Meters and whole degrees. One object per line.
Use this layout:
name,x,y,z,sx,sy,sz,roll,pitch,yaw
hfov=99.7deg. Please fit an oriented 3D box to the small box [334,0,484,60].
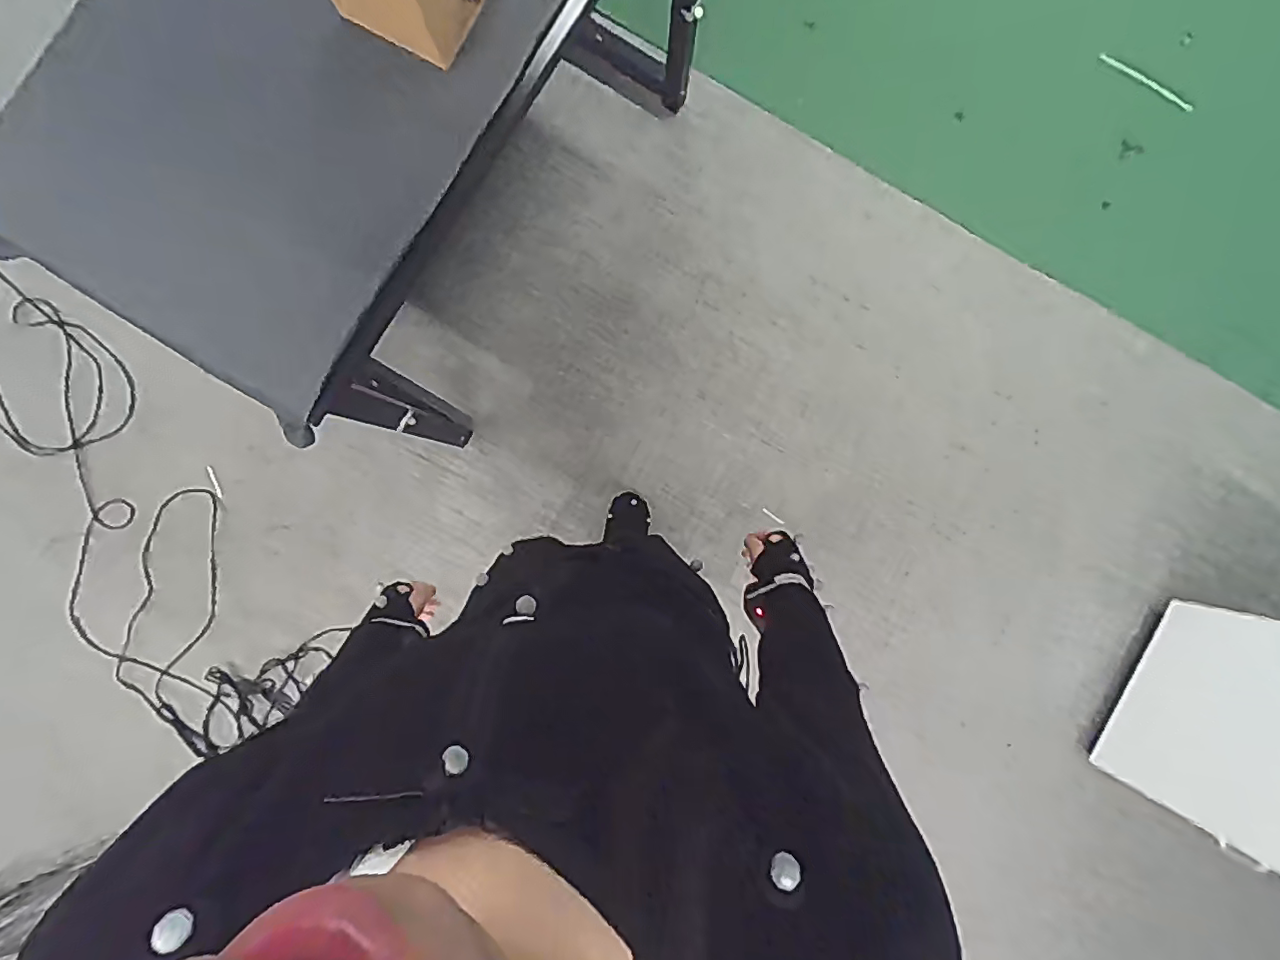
small box,-0.316,-0.697,0.690,0.179,0.176,0.168,27,88,0
